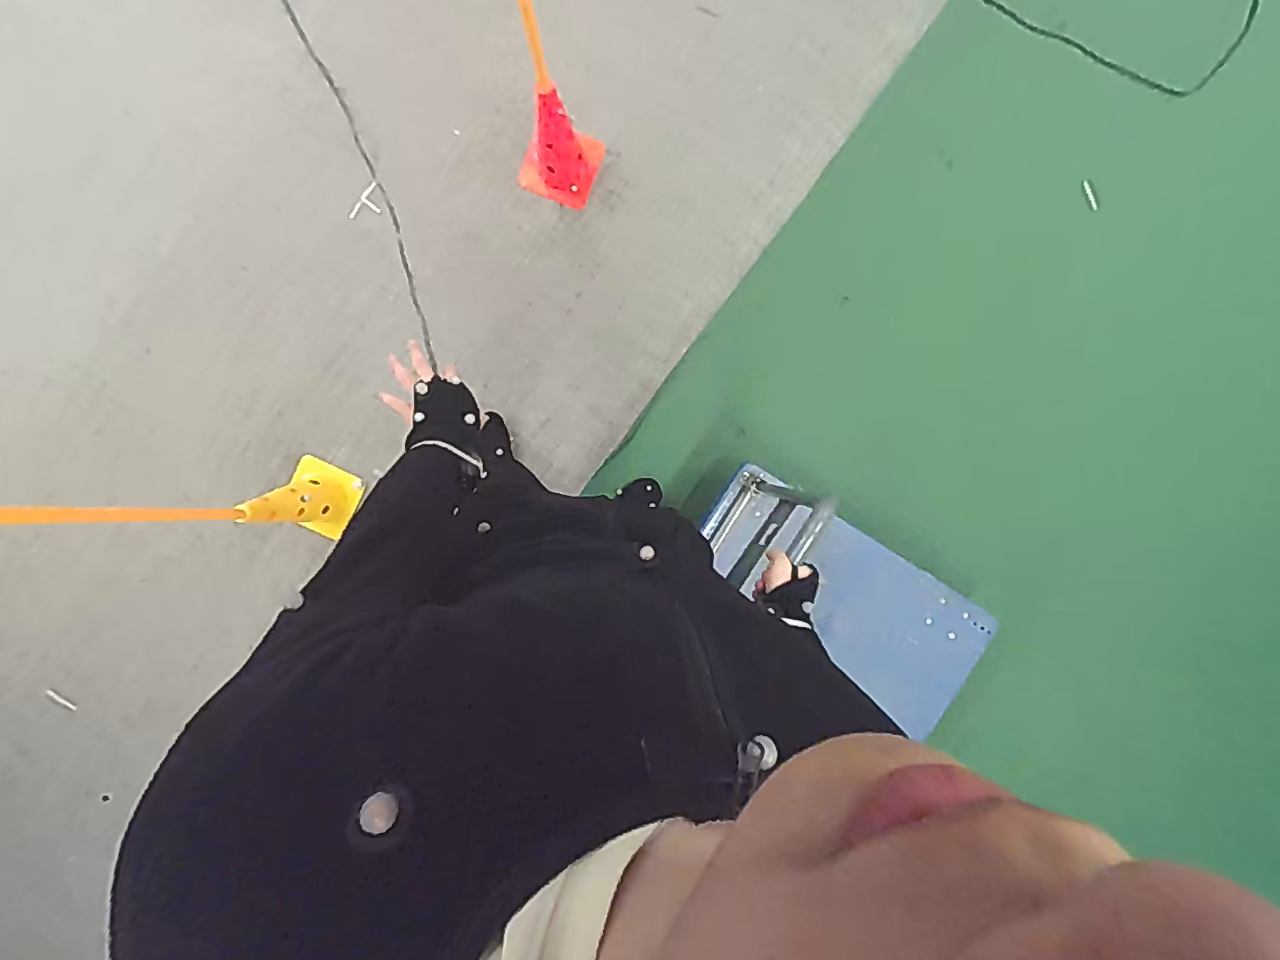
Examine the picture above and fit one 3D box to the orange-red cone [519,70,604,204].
[{"bbox_3d":[-0.210,-0.888,1.350,0.198,0.360,0.199,22,92,-5],"label":"orange-red cone"}]
